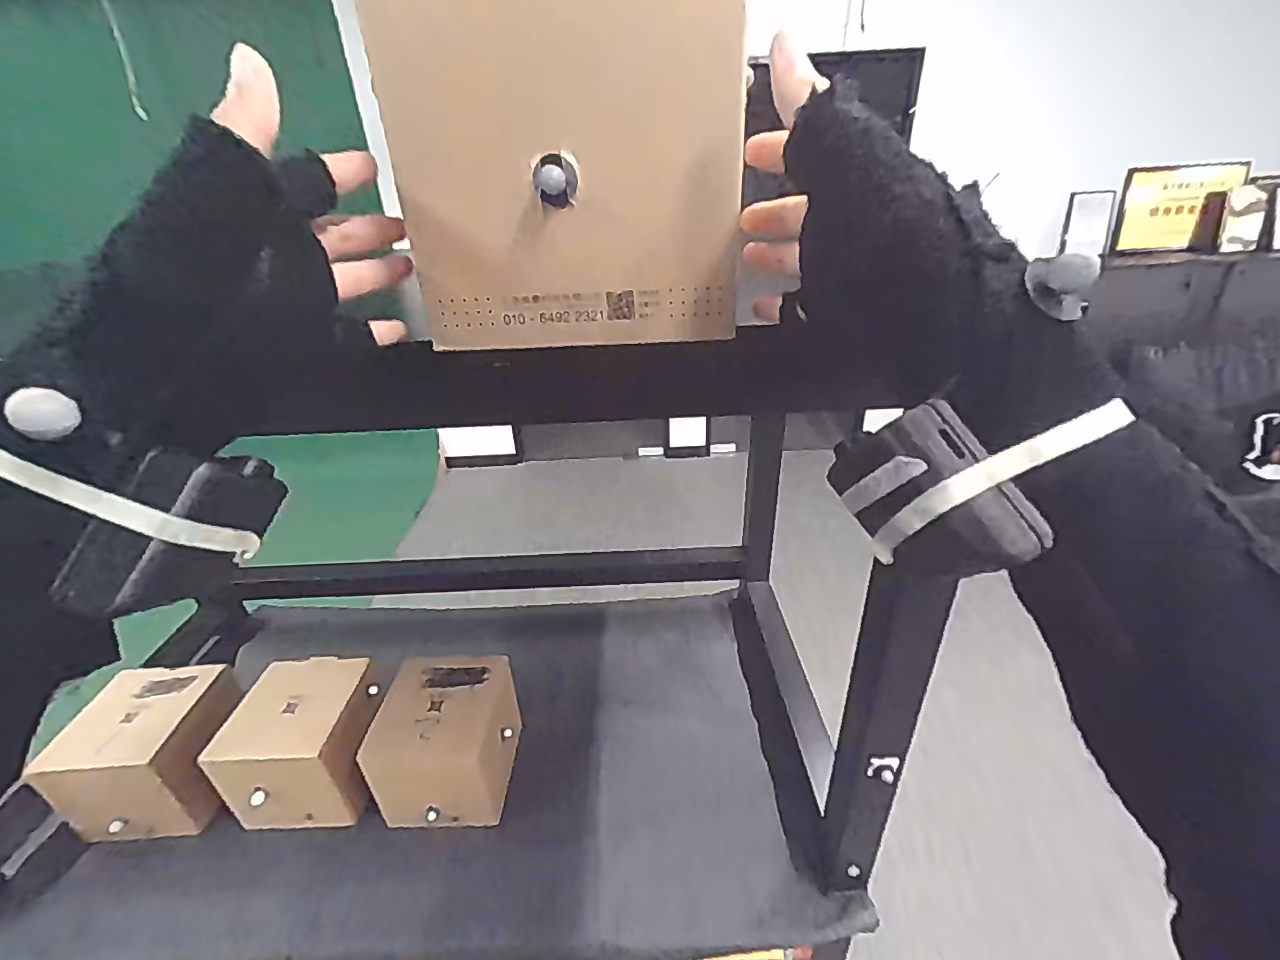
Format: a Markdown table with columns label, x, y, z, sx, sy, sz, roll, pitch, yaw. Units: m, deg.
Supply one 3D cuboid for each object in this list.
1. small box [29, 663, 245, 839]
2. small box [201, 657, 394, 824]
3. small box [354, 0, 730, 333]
| label | x | y | z | sx | sy | sz | roll | pitch | yaw |
| --- | --- | --- | --- | --- | --- | --- | --- | --- | --- |
| small box | -0.729 | 0.408 | 0.825 | 0.168 | 0.176 | 0.179 | -4 | 28 | -1 |
| small box | -0.503 | 0.398 | 0.829 | 0.168 | 0.176 | 0.179 | -2 | 28 | 0 |
| small box | -0.036 | -0.190 | 0.331 | 0.168 | 0.176 | 0.179 | -1 | 28 | 2 |
